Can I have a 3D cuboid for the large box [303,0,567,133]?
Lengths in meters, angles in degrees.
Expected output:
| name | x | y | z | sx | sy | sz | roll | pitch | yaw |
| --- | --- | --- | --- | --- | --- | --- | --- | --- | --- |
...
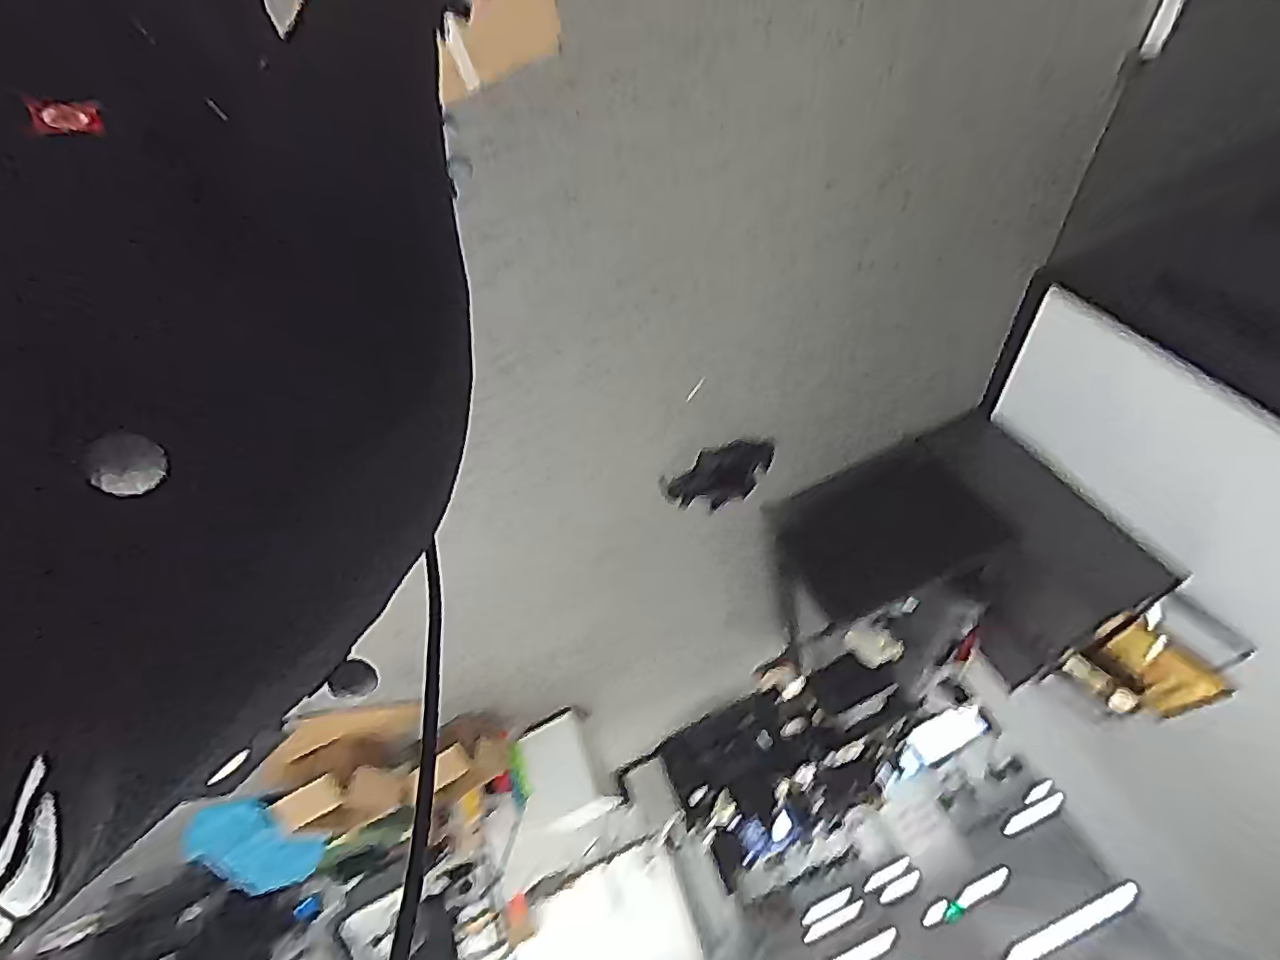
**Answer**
| name | x | y | z | sx | sy | sz | roll | pitch | yaw |
| --- | --- | --- | --- | --- | --- | --- | --- | --- | --- |
| large box | -0.349 | -0.794 | 0.733 | 0.320 | 0.320 | 0.408 | -25 | 145 | -2 |
